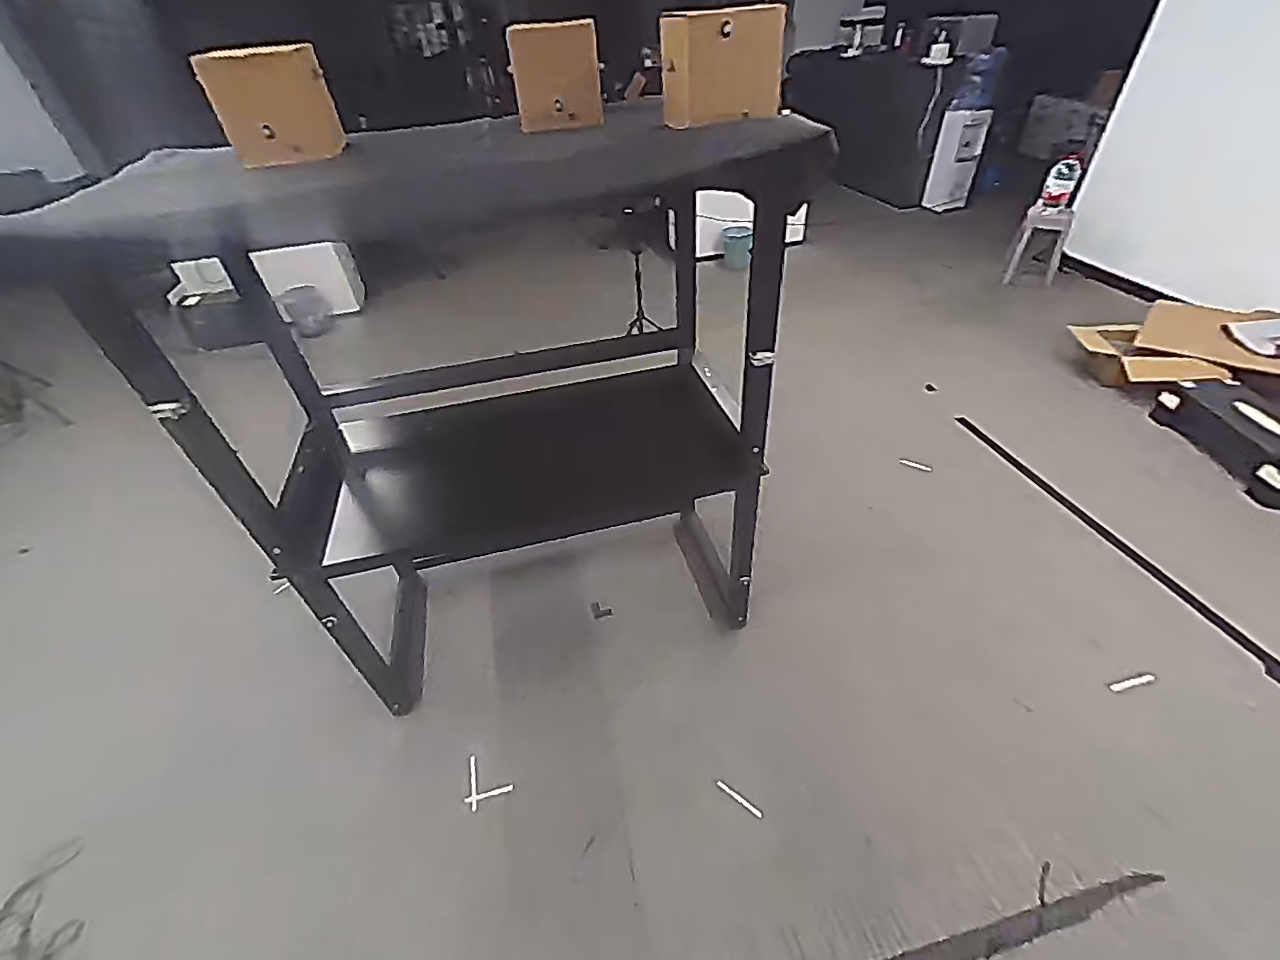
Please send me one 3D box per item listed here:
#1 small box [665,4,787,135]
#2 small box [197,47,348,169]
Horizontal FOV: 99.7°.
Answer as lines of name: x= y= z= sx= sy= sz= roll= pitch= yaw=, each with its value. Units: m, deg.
small box: x=0.144 y=-0.729 z=0.966 sx=0.168 sy=0.176 sz=0.179 roll=-12 pitch=41 yaw=-6
small box: x=-0.676 y=-0.704 z=1.023 sx=0.168 sy=0.176 sz=0.179 roll=-13 pitch=43 yaw=-9
